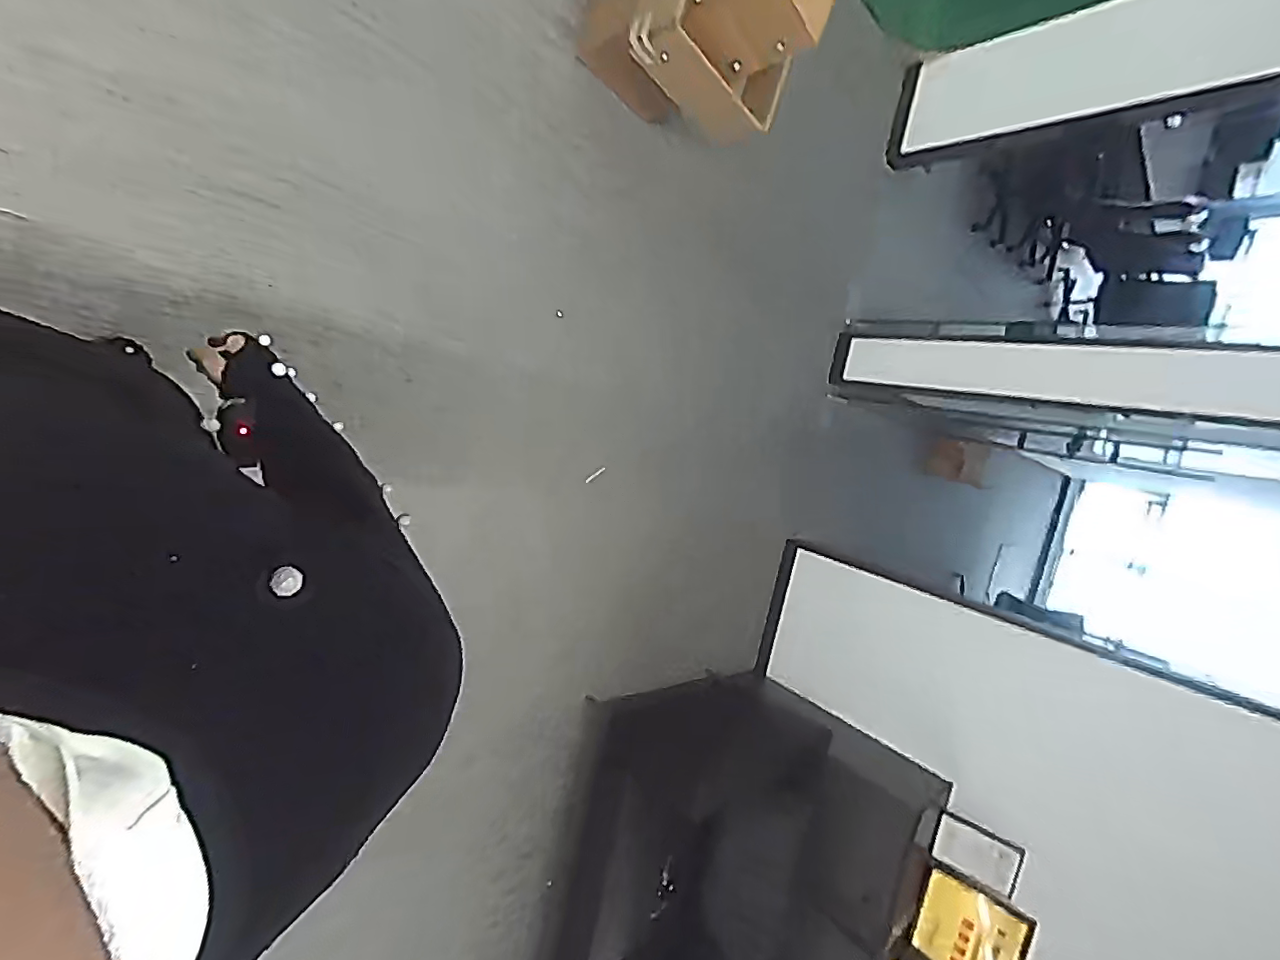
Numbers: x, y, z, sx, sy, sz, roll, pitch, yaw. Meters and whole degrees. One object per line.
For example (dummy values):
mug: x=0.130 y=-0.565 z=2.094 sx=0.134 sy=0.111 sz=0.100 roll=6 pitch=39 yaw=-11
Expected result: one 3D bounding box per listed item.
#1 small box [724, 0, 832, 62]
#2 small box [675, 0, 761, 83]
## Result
small box: x=0.333 y=-1.145 z=1.287 sx=0.179 sy=0.176 sz=0.168 roll=22 pitch=88 yaw=-44
small box: x=0.225 y=-1.177 z=1.404 sx=0.179 sy=0.176 sz=0.168 roll=23 pitch=87 yaw=-44
